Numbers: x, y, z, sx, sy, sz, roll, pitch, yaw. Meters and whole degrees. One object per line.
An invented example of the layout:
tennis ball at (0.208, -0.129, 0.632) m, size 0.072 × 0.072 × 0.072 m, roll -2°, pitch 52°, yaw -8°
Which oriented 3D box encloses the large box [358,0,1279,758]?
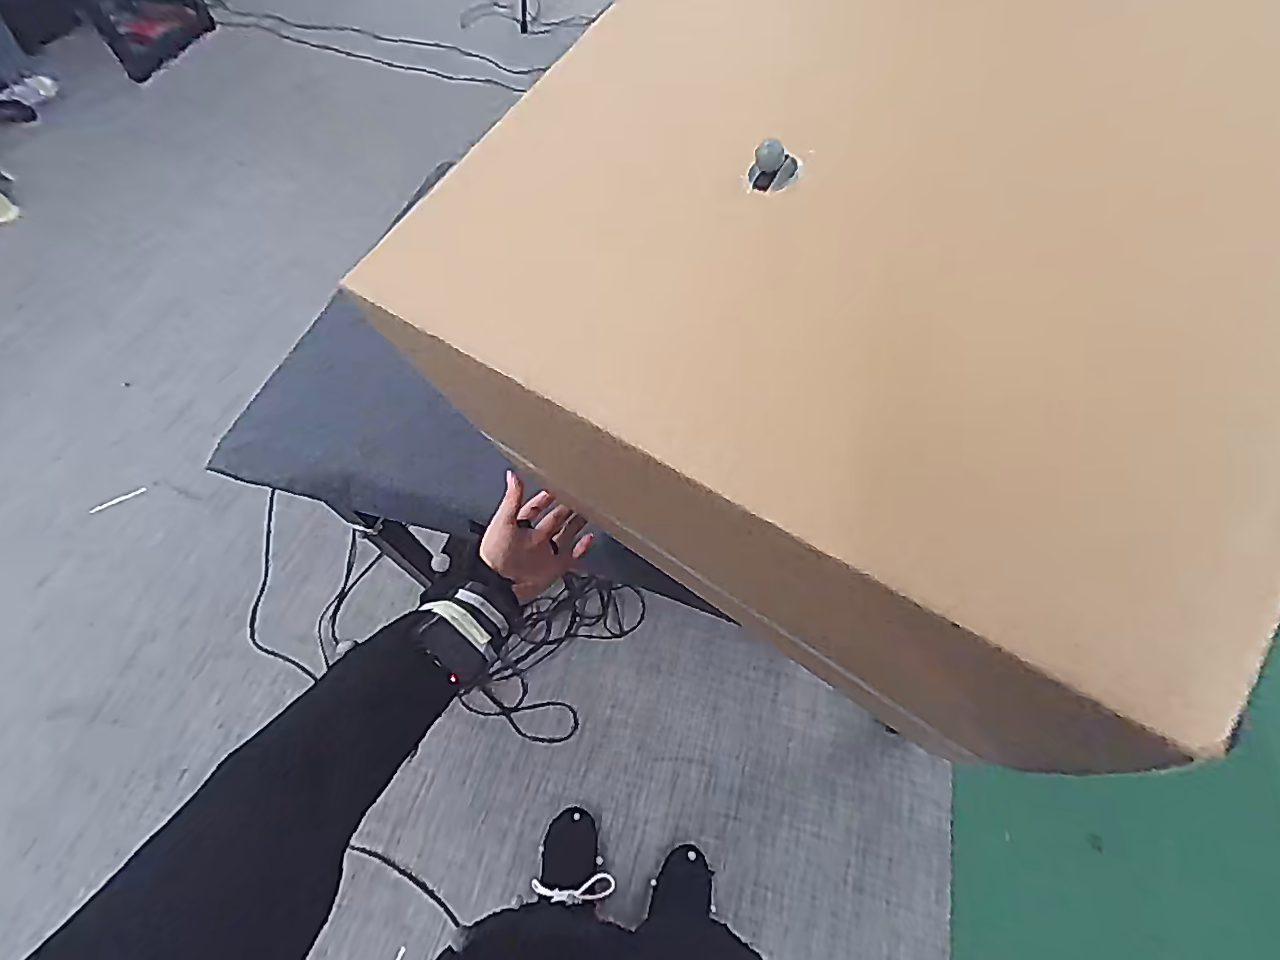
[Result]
large box at (0.106, -0.069, 0.387) m, size 0.408 × 0.320 × 0.320 m, roll 29°, pitch 75°, yaw 28°
